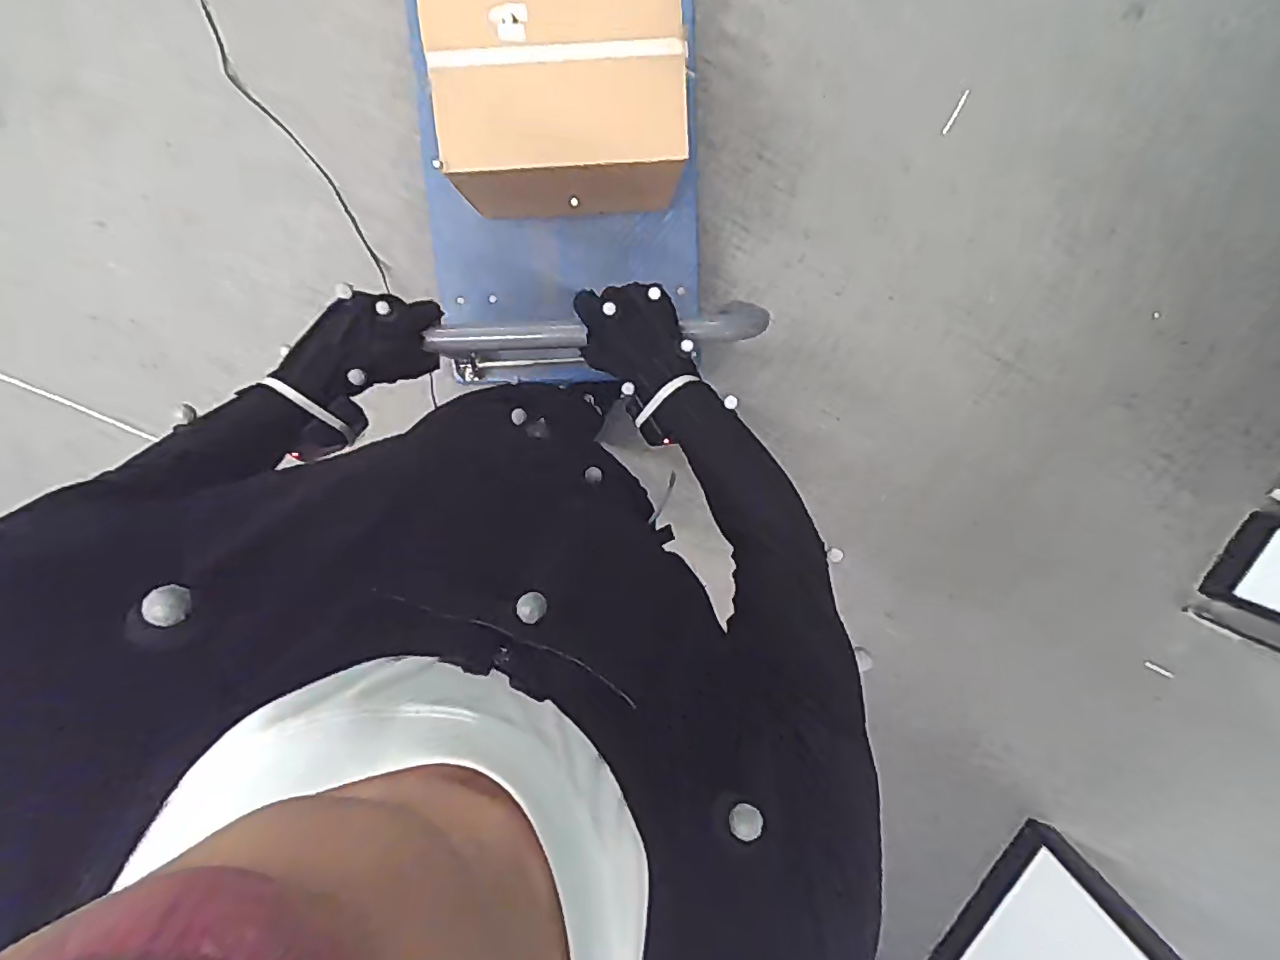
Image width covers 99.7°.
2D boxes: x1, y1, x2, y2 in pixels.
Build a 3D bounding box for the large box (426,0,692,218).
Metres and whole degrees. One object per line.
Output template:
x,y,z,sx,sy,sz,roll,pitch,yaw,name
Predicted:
-0.129,-0.696,1.000,0.408,0.320,0.320,-5,103,-2,large box
